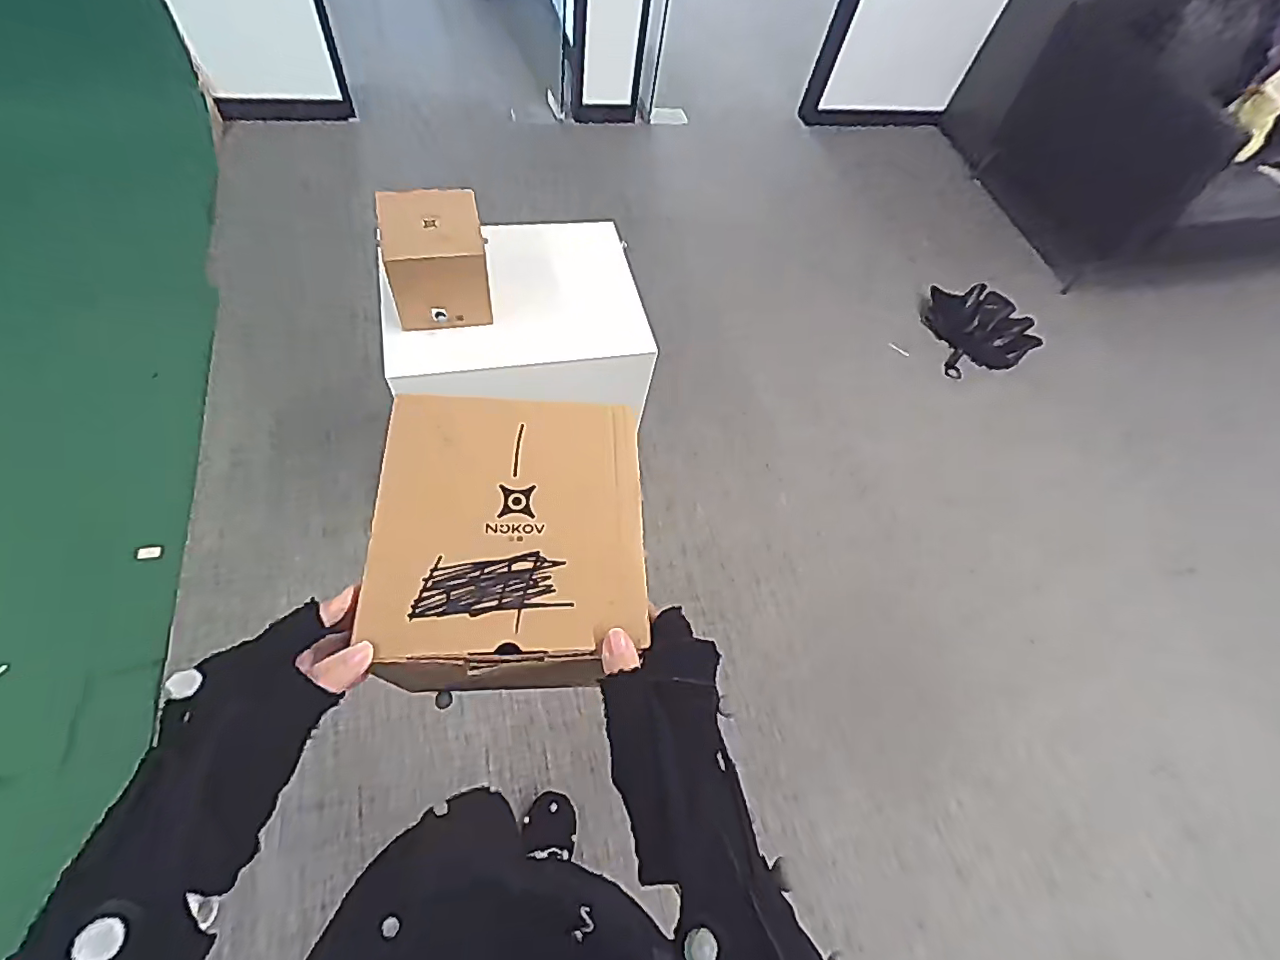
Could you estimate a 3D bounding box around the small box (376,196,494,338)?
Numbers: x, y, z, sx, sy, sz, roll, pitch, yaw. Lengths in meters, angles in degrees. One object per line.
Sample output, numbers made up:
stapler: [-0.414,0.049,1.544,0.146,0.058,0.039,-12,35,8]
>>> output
small box: [-0.372,-0.389,0.996,0.168,0.176,0.179,-12,65,-14]

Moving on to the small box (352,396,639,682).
small box: [-0.095,0.056,0.416,0.168,0.176,0.179,1,63,-10]
